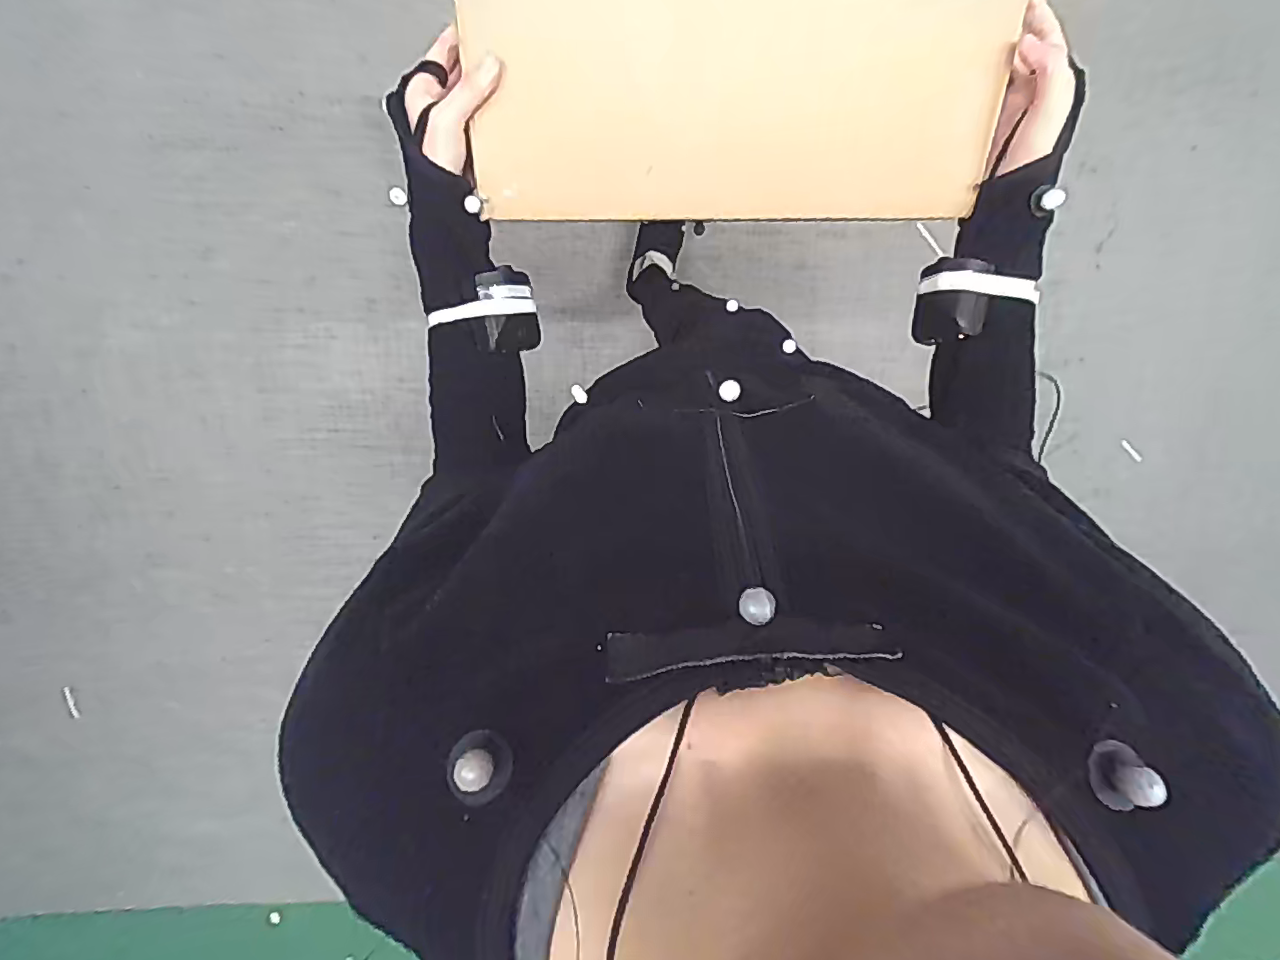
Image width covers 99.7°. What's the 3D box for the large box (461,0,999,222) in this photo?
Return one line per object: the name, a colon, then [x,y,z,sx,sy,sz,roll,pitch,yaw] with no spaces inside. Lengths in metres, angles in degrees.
large box: [0.064,-0.428,0.519,0.408,0.320,0.320,-2,116,-2]
